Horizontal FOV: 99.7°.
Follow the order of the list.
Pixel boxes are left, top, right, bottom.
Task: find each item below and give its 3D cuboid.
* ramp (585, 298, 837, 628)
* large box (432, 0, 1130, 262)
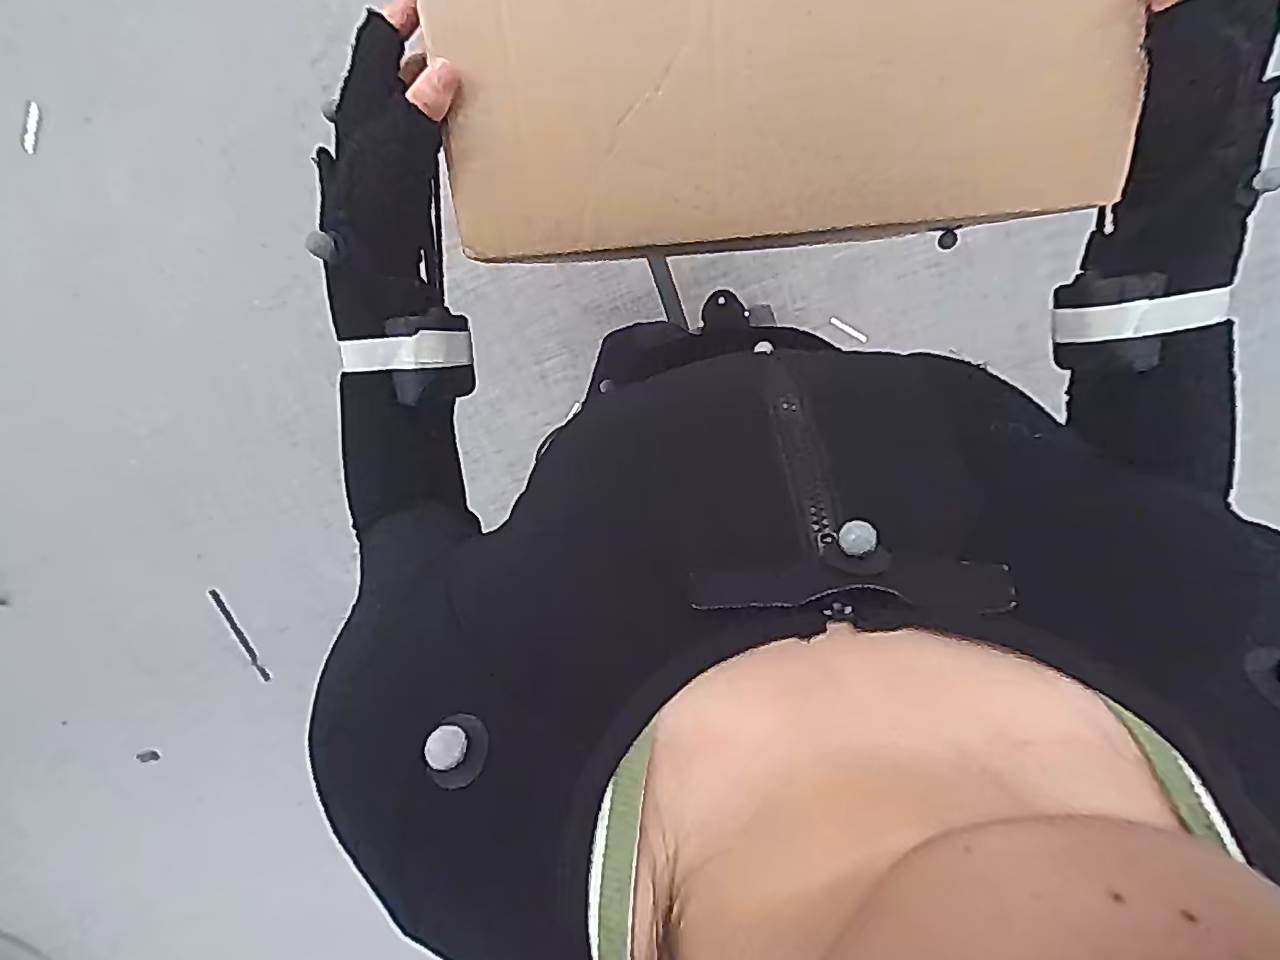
[{"bbox_3d":[0.257,0.022,1.614,0.509,0.206,0.991,-22,106,8],"label":"ramp"},{"bbox_3d":[0.081,-0.357,0.434,0.408,0.320,0.320,-3,111,3],"label":"large box"}]
